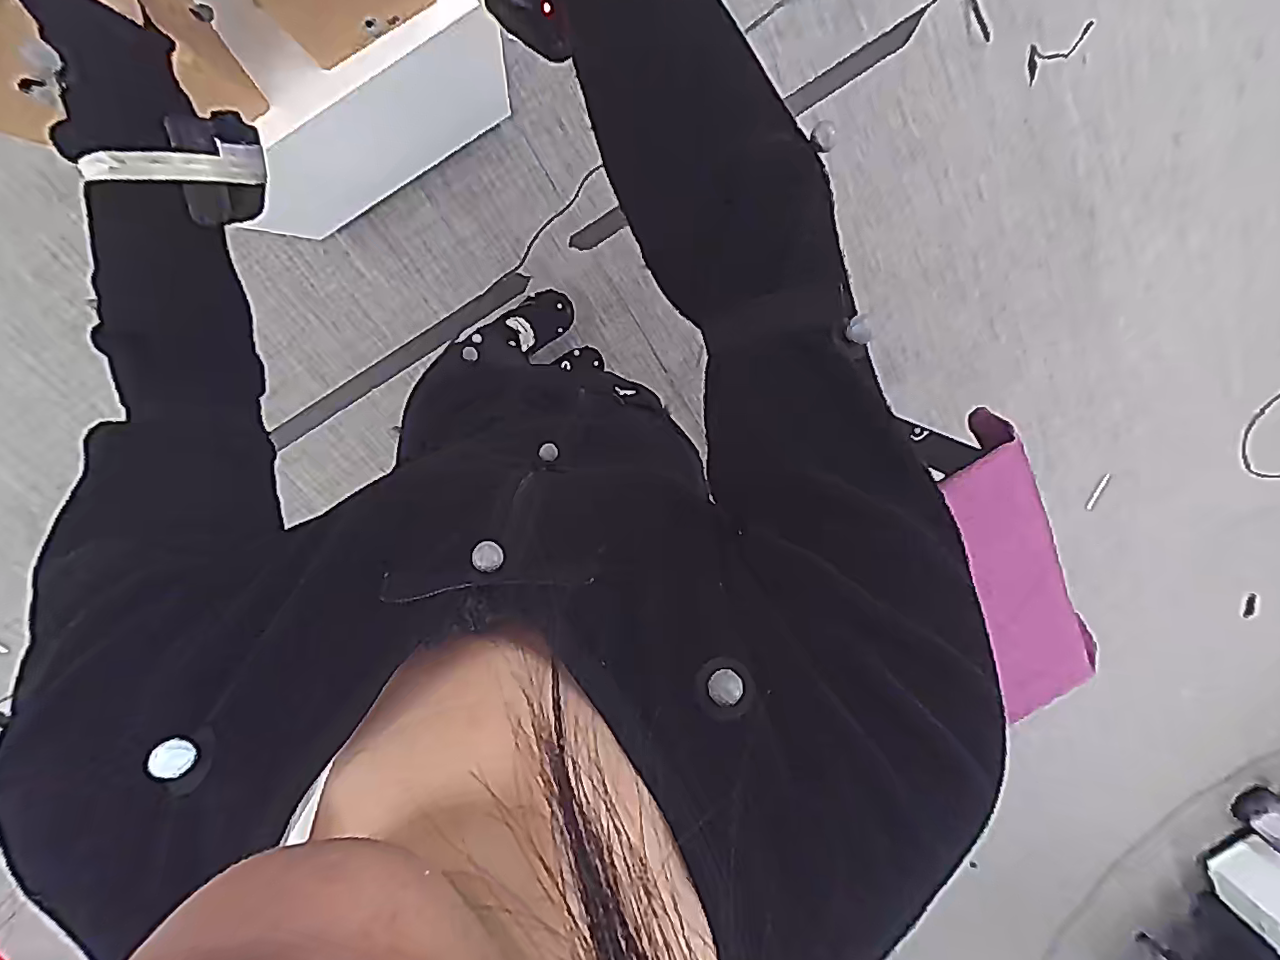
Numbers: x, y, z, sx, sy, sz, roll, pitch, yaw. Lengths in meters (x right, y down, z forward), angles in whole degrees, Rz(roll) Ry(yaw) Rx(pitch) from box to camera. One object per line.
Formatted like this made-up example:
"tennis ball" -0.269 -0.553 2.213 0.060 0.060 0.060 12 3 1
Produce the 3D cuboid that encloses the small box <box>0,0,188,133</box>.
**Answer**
"small box" -0.516 -0.400 0.413 0.168 0.176 0.179 -33 112 2

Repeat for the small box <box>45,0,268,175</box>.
"small box" -0.548 -0.456 0.563 0.168 0.176 0.179 -32 112 1
